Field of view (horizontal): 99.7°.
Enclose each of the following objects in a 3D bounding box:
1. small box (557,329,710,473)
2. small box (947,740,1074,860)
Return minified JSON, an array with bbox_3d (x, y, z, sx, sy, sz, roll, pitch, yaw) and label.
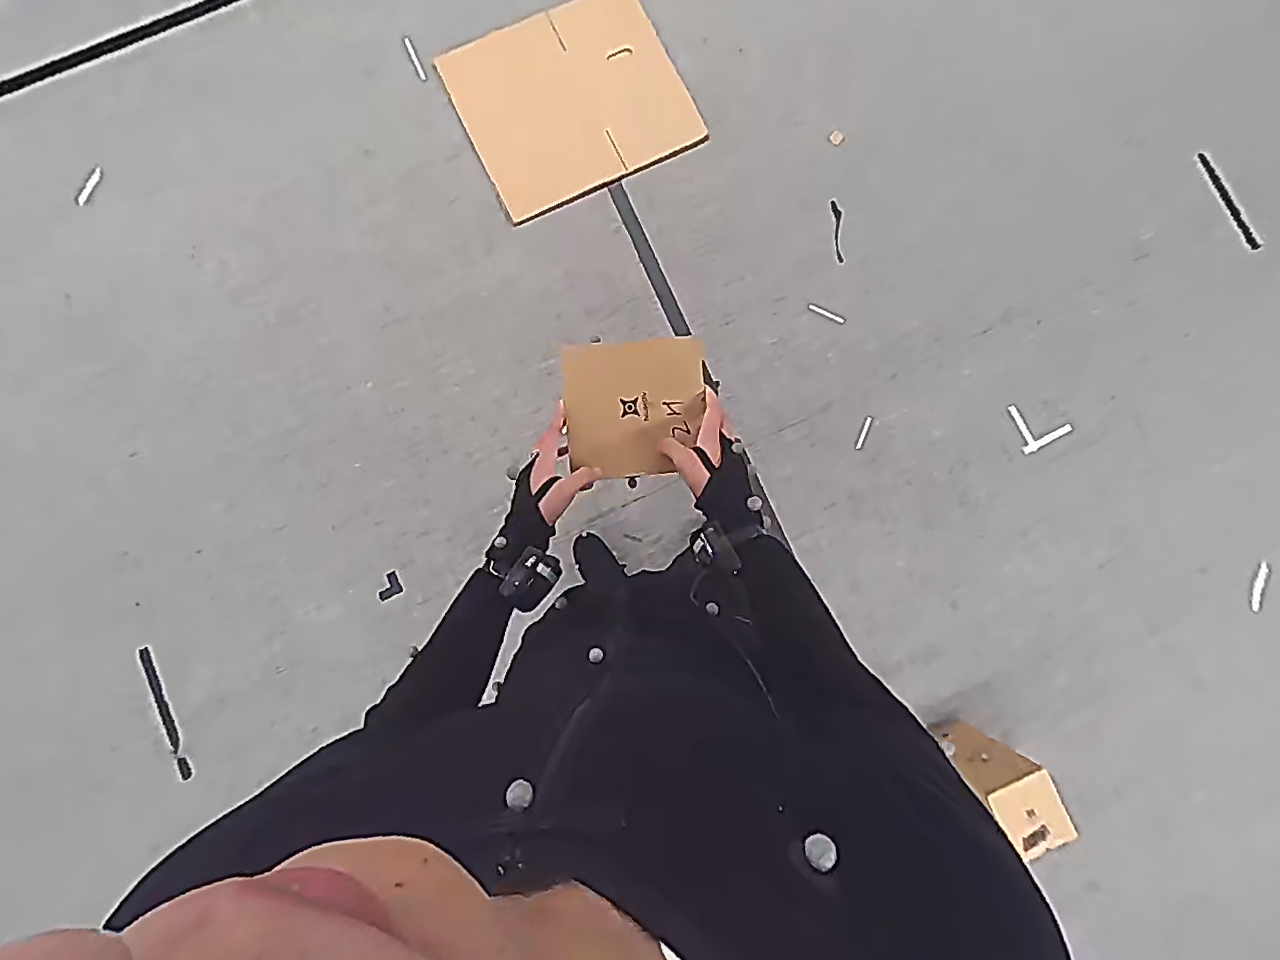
[{"bbox_3d":[-0.012,-0.097,0.732,0.179,0.176,0.168,-5,92,-5],"label":"small box"},{"bbox_3d":[0.925,0.799,1.368,0.168,0.176,0.179,-23,86,-4],"label":"small box"}]
